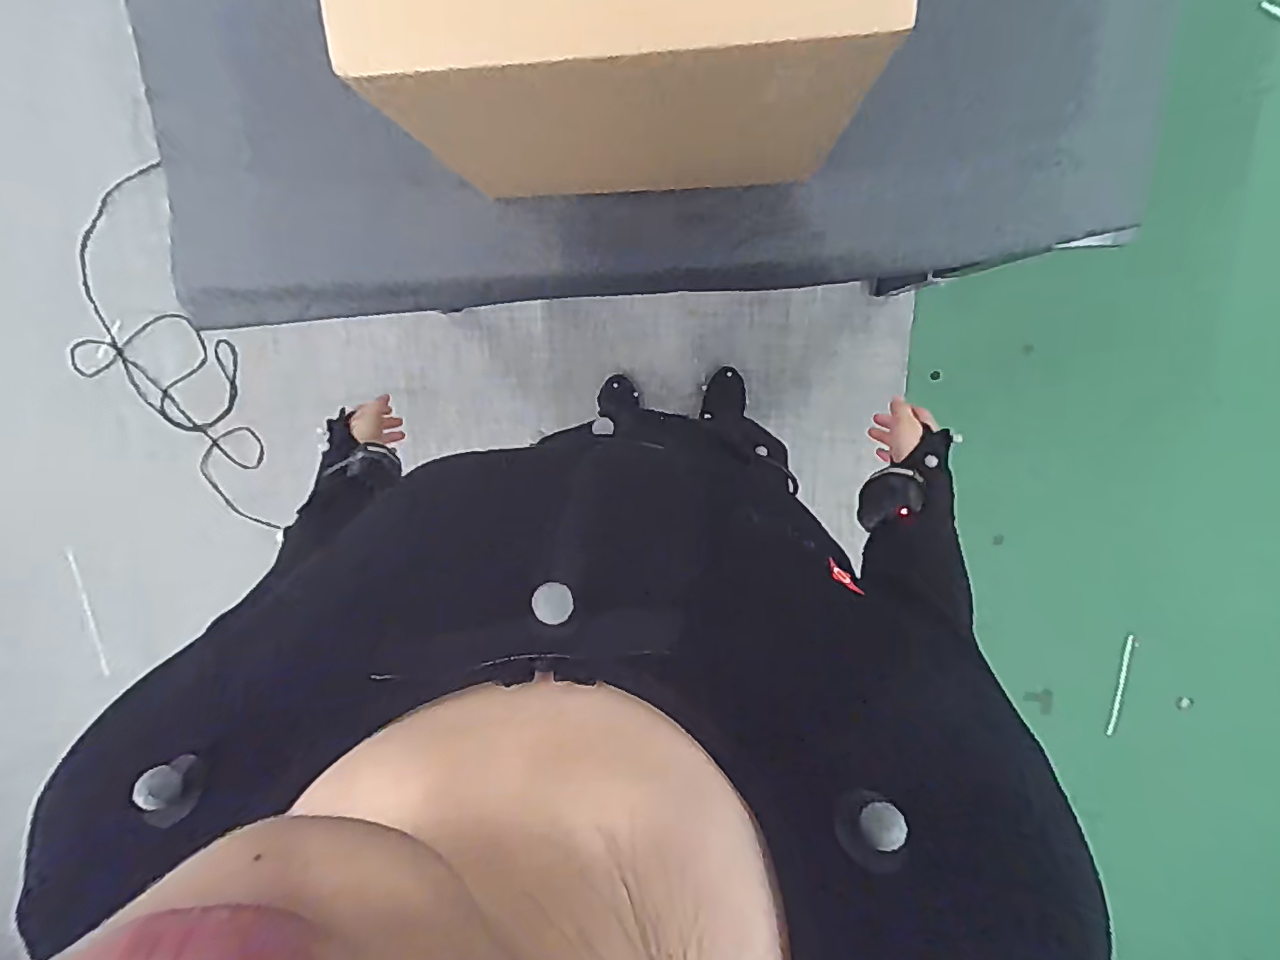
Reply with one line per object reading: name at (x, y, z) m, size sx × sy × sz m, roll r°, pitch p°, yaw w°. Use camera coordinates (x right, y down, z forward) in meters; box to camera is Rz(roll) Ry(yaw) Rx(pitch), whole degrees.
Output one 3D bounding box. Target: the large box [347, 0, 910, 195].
large box at (-0.009, -0.485, 0.499) m, size 0.408 × 0.320 × 0.320 m, roll -1°, pitch 103°, yaw 5°
